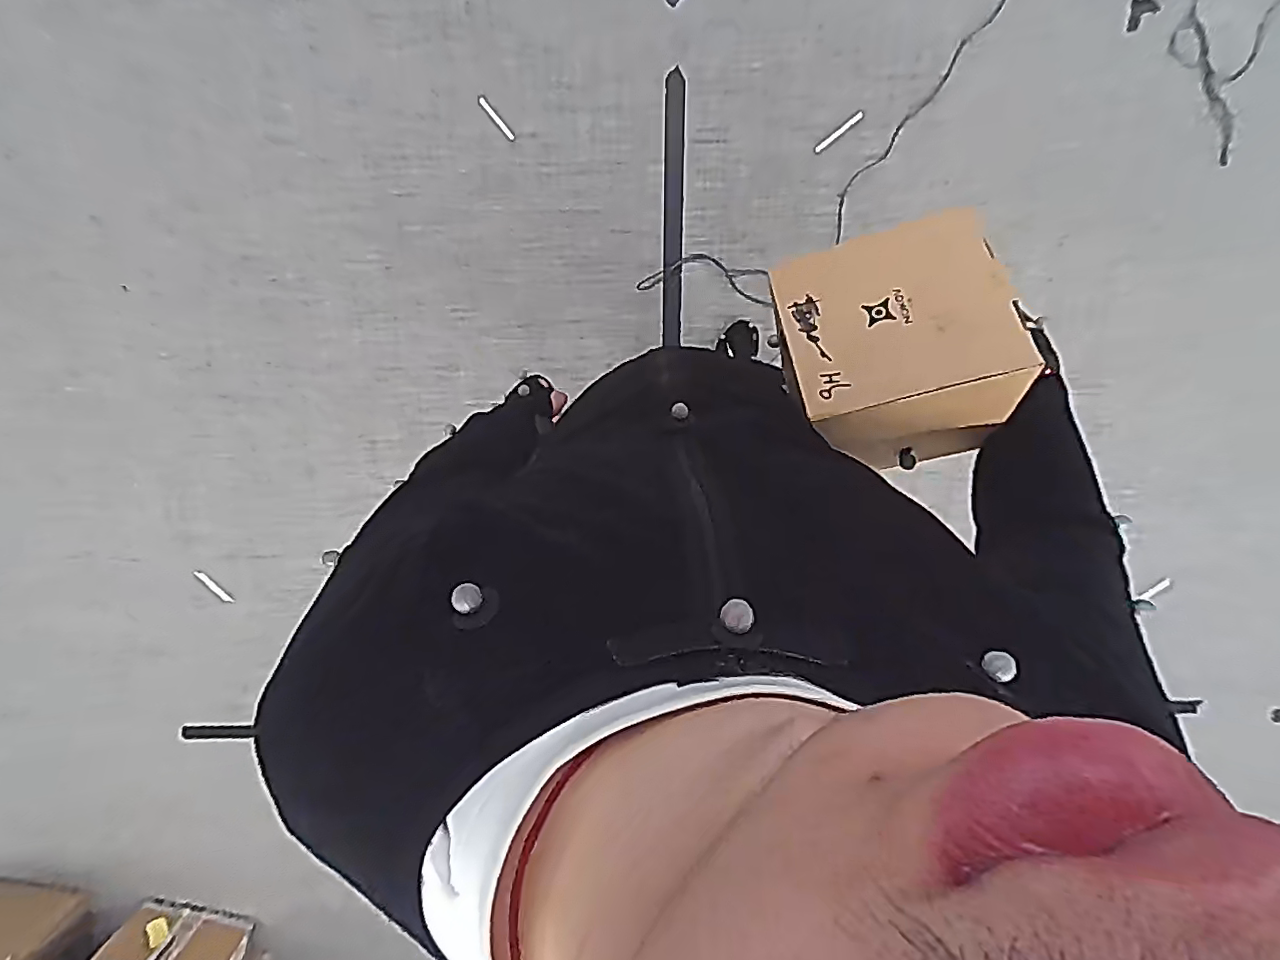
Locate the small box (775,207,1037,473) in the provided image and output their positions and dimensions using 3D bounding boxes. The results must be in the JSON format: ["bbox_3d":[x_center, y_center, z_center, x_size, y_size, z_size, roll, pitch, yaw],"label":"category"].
[{"bbox_3d":[0.244,-0.123,0.540,0.179,0.176,0.168,-14,67,15],"label":"small box"}]
